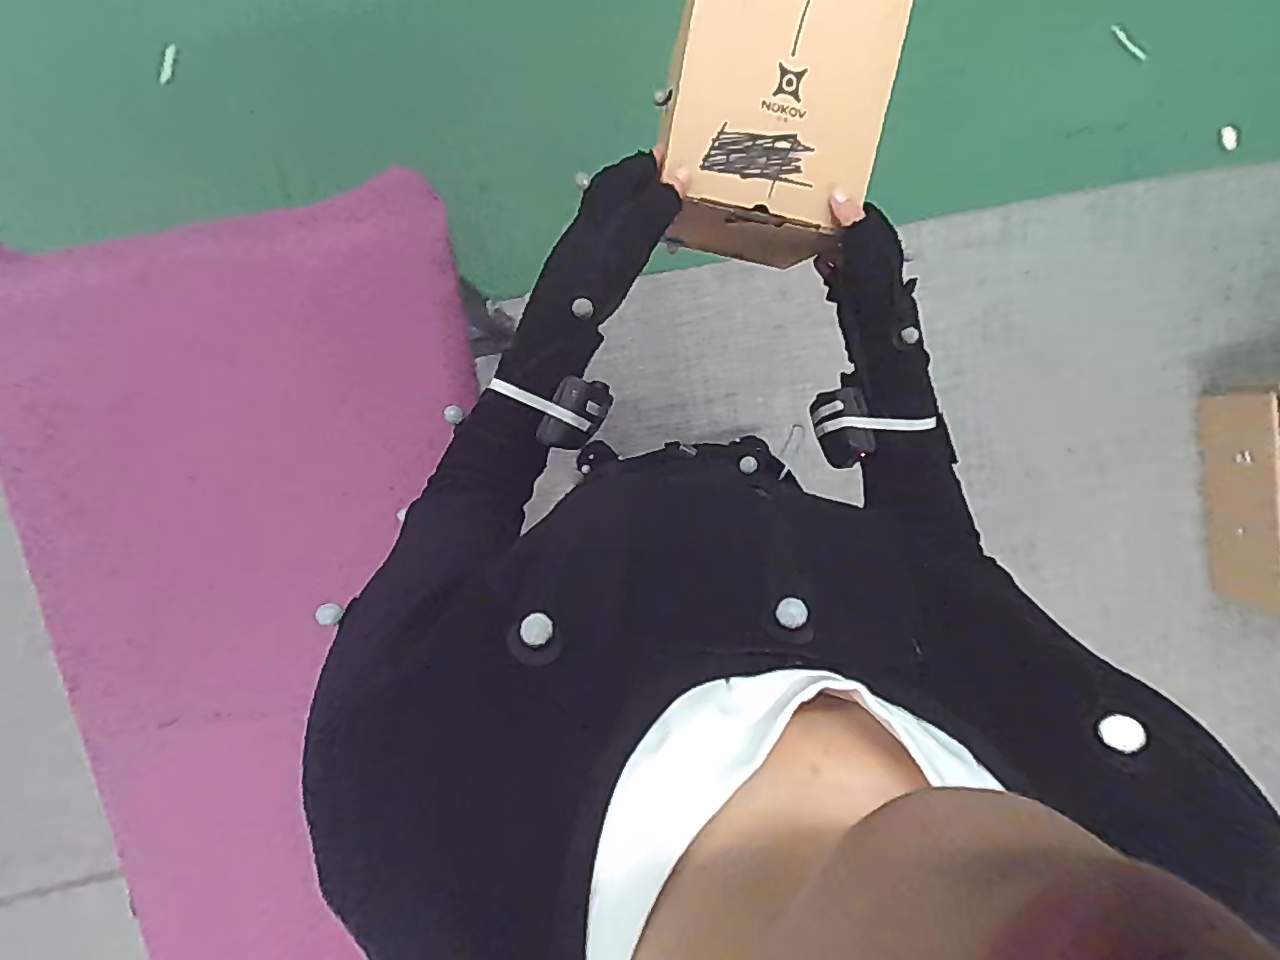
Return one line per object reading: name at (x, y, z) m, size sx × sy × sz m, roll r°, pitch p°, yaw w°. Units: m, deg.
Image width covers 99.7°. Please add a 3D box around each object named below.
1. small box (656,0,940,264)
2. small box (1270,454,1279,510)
small box at (0.117, -0.308, 0.484) m, size 0.168 × 0.176 × 0.179 m, roll 12°, pitch 103°, yaw -10°
small box at (1.816, 0.003, 1.398) m, size 0.179 × 0.176 × 0.168 m, roll -7°, pitch 99°, yaw -2°
